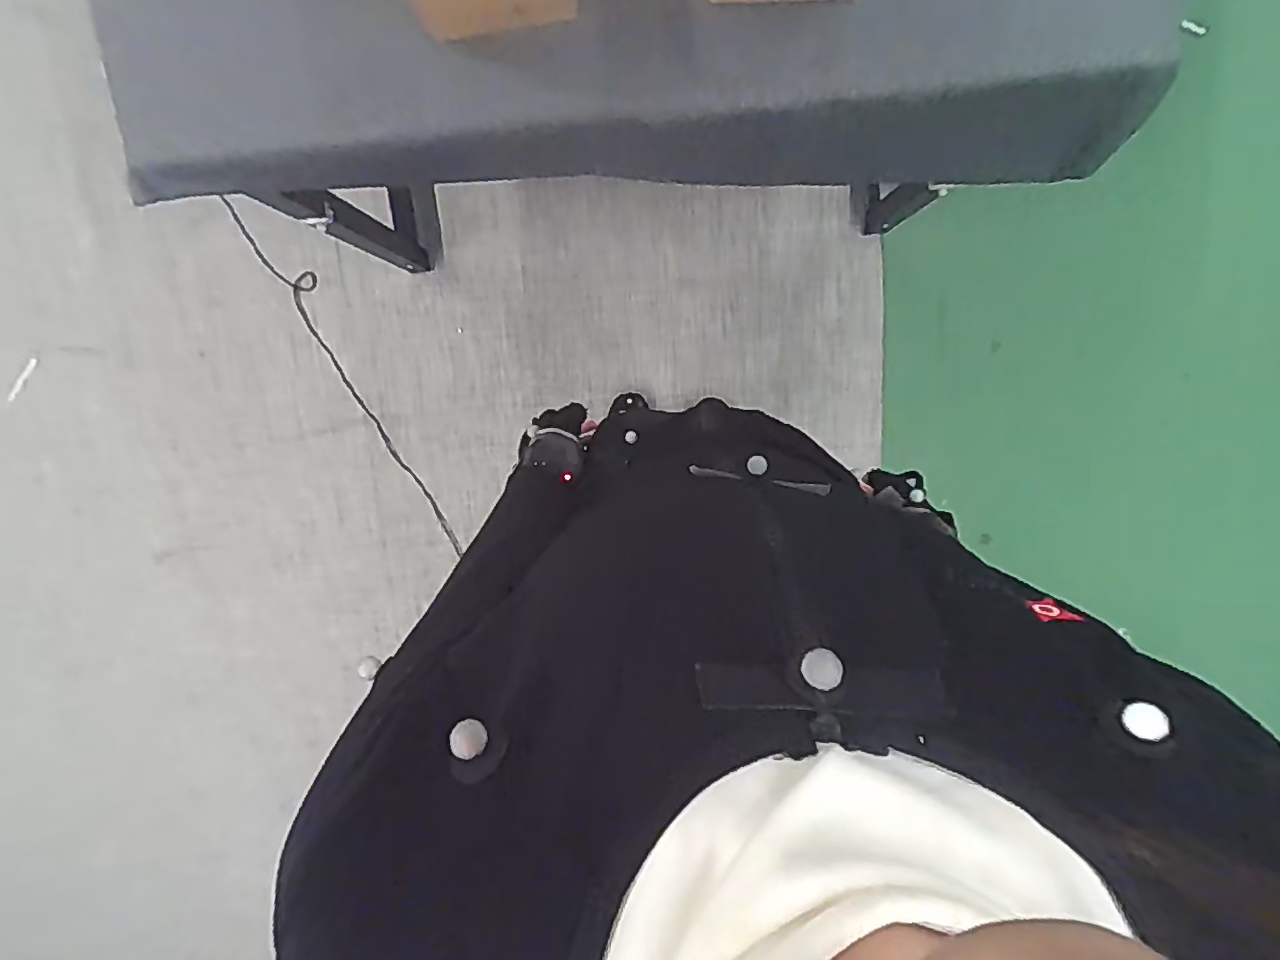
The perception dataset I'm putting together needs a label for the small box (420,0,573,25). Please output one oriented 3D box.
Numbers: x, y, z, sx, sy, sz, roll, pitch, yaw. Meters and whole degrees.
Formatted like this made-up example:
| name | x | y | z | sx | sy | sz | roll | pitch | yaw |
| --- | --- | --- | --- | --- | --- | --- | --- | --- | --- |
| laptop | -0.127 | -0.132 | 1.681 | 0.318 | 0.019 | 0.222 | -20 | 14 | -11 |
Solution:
| name | x | y | z | sx | sy | sz | roll | pitch | yaw |
| --- | --- | --- | --- | --- | --- | --- | --- | --- | --- |
| small box | -0.163 | -0.584 | 0.519 | 0.168 | 0.176 | 0.179 | -8 | 98 | 0 |
